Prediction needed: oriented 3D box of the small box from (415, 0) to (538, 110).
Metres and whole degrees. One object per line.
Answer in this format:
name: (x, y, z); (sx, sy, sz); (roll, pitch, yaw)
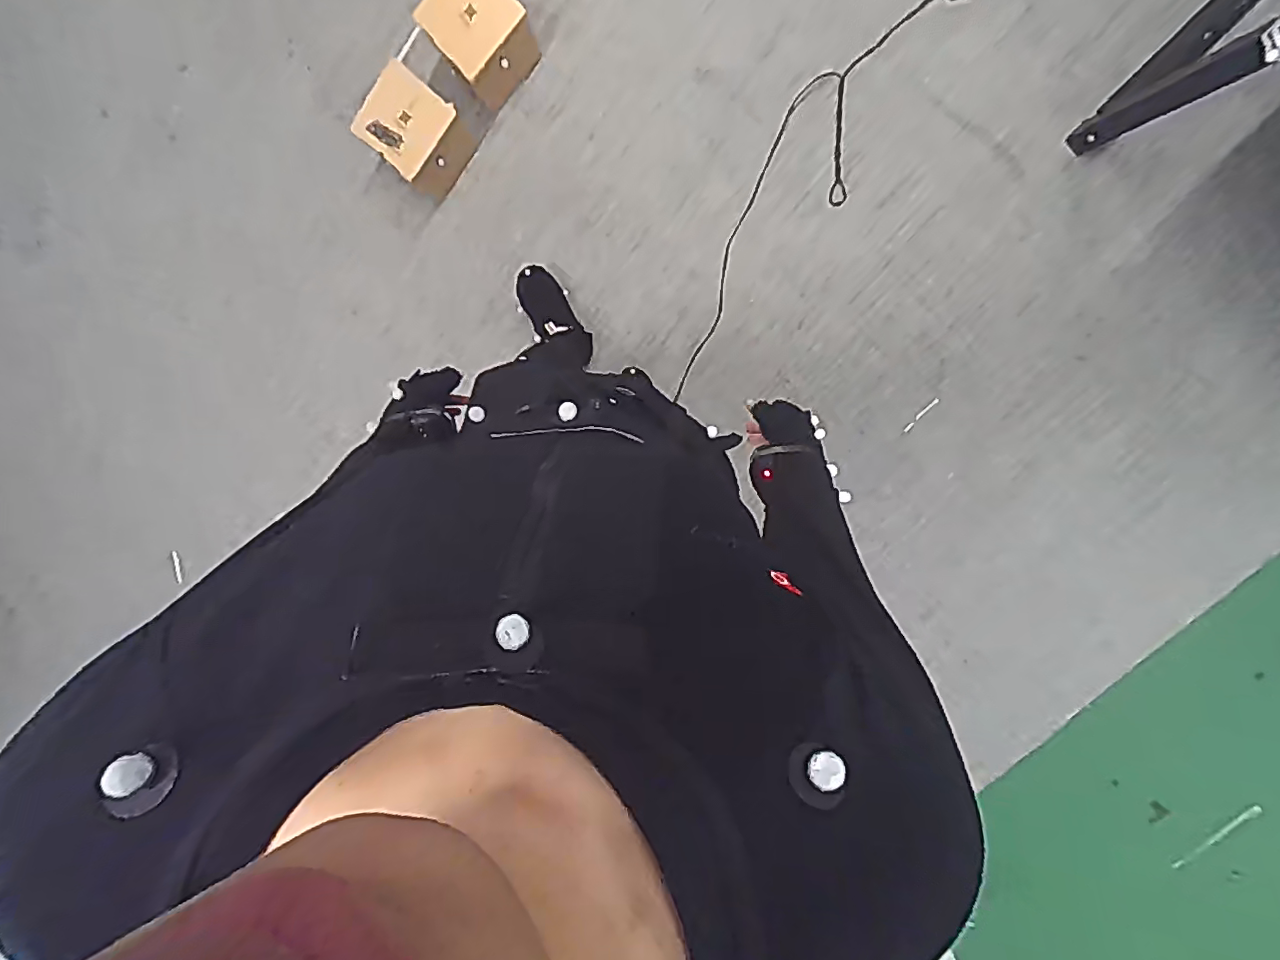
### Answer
small box: (-0.339, -0.960, 1.168); (0.179, 0.176, 0.168); (-43, 99, 12)

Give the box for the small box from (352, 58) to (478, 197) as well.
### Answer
small box: (-0.495, -0.777, 1.219); (0.168, 0.176, 0.179); (40, 101, -8)
